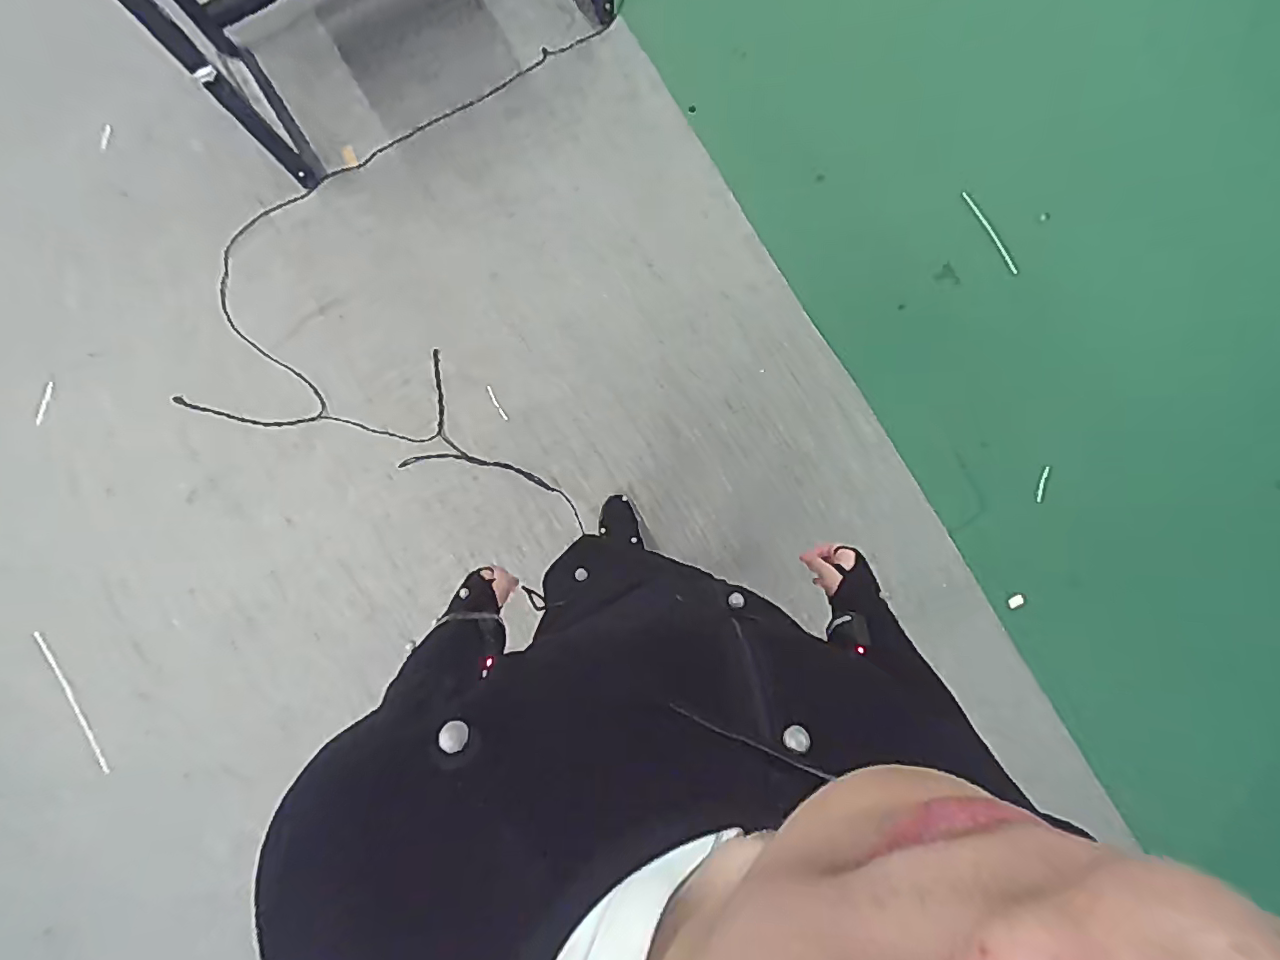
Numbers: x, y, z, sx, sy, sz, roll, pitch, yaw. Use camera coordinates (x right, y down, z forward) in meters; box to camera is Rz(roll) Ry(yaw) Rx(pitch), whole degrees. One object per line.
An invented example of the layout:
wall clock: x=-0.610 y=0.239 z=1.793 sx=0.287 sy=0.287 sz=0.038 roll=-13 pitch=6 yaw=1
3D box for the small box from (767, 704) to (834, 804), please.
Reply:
small box: x=0.471 y=0.737 z=1.476 sx=0.168 sy=0.176 sz=0.179 roll=-30 pitch=86 yaw=-2

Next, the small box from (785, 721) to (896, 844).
small box: x=0.478 y=0.723 z=1.313 sx=0.168 sy=0.176 sz=0.179 roll=-24 pitch=86 yaw=-2
